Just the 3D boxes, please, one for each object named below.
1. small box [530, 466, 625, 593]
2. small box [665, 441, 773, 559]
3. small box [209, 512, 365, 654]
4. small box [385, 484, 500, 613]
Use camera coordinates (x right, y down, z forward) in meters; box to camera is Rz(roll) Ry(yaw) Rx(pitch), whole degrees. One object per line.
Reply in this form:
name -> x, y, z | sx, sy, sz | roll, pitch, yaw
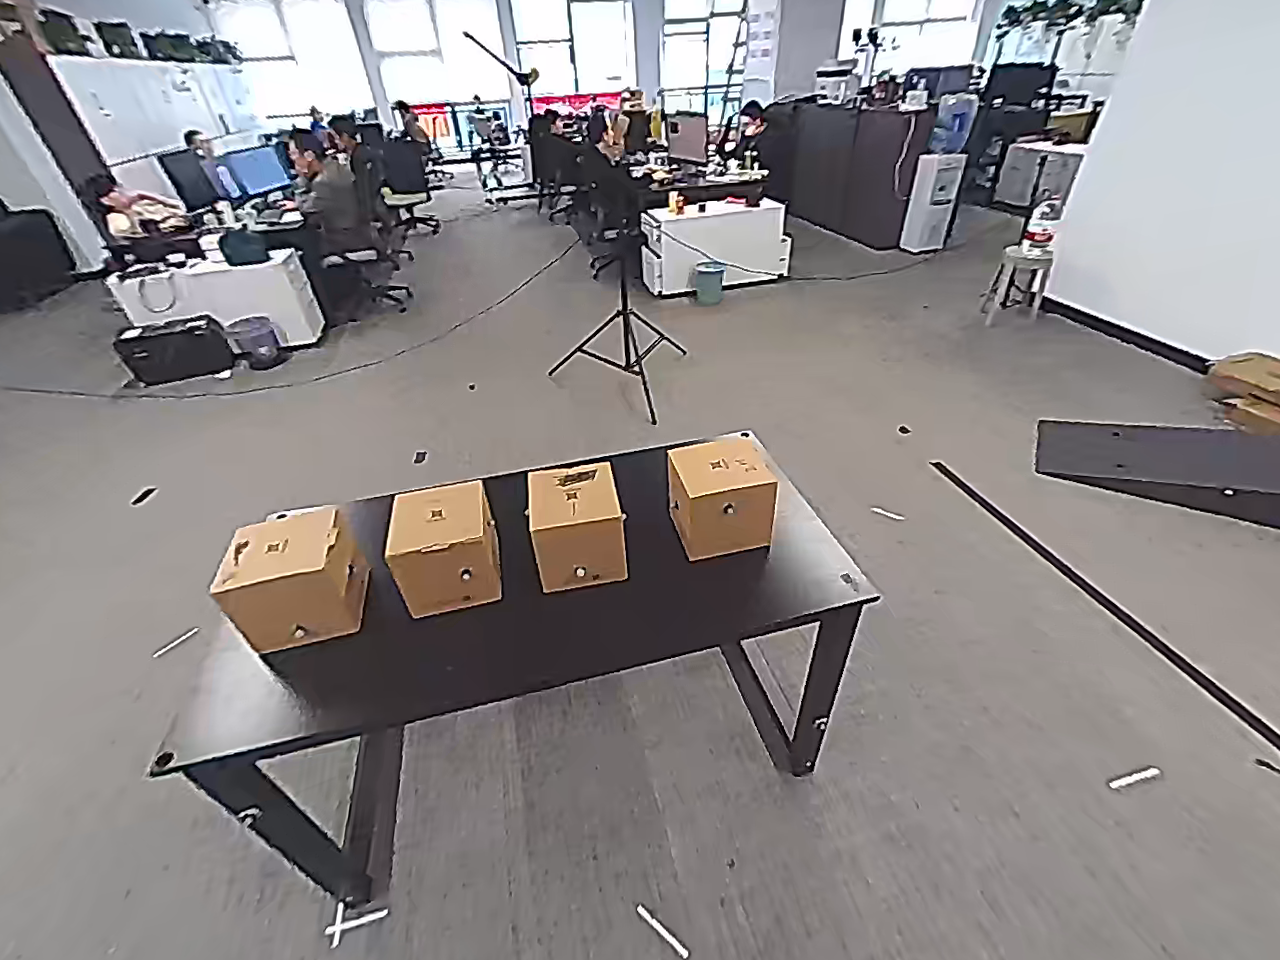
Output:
small box -> -0.125, 0.096, 1.068 | 0.168, 0.176, 0.179 | -8, 38, -7
small box -> 0.158, 0.044, 1.116 | 0.179, 0.176, 0.168 | -10, 38, -8
small box -> -0.621, 0.186, 0.982 | 0.179, 0.176, 0.168 | -11, 37, -12
small box -> -0.369, 0.135, 1.037 | 0.168, 0.176, 0.179 | -11, 37, -11
